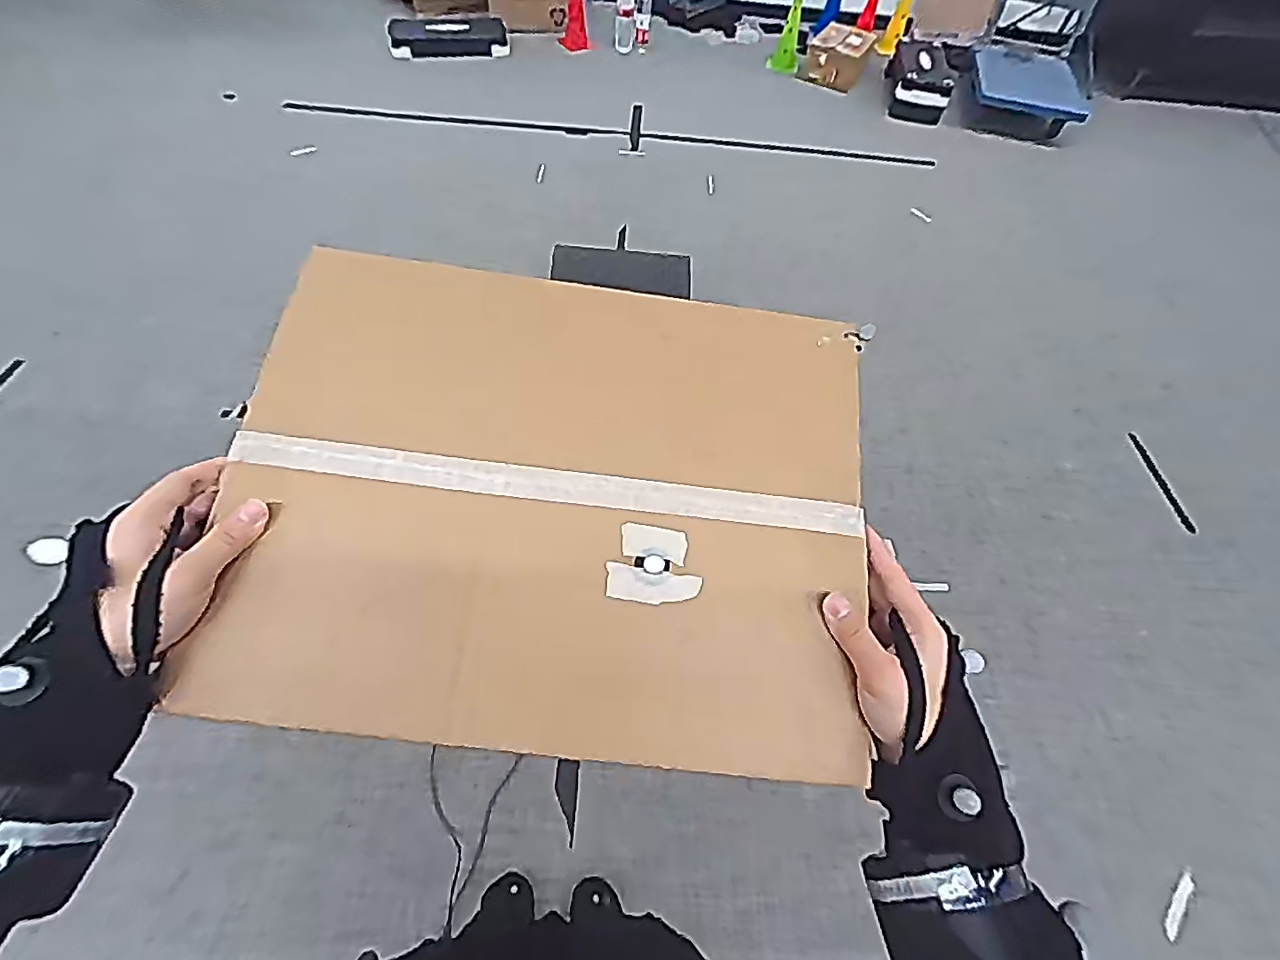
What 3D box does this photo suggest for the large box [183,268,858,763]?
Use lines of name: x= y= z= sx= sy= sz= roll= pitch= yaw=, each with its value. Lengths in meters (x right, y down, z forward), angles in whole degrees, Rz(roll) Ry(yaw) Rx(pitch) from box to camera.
large box: x=-0.064 y=0.053 z=0.504 sx=0.408 sy=0.320 sz=0.320 roll=8 pitch=72 yaw=-3
